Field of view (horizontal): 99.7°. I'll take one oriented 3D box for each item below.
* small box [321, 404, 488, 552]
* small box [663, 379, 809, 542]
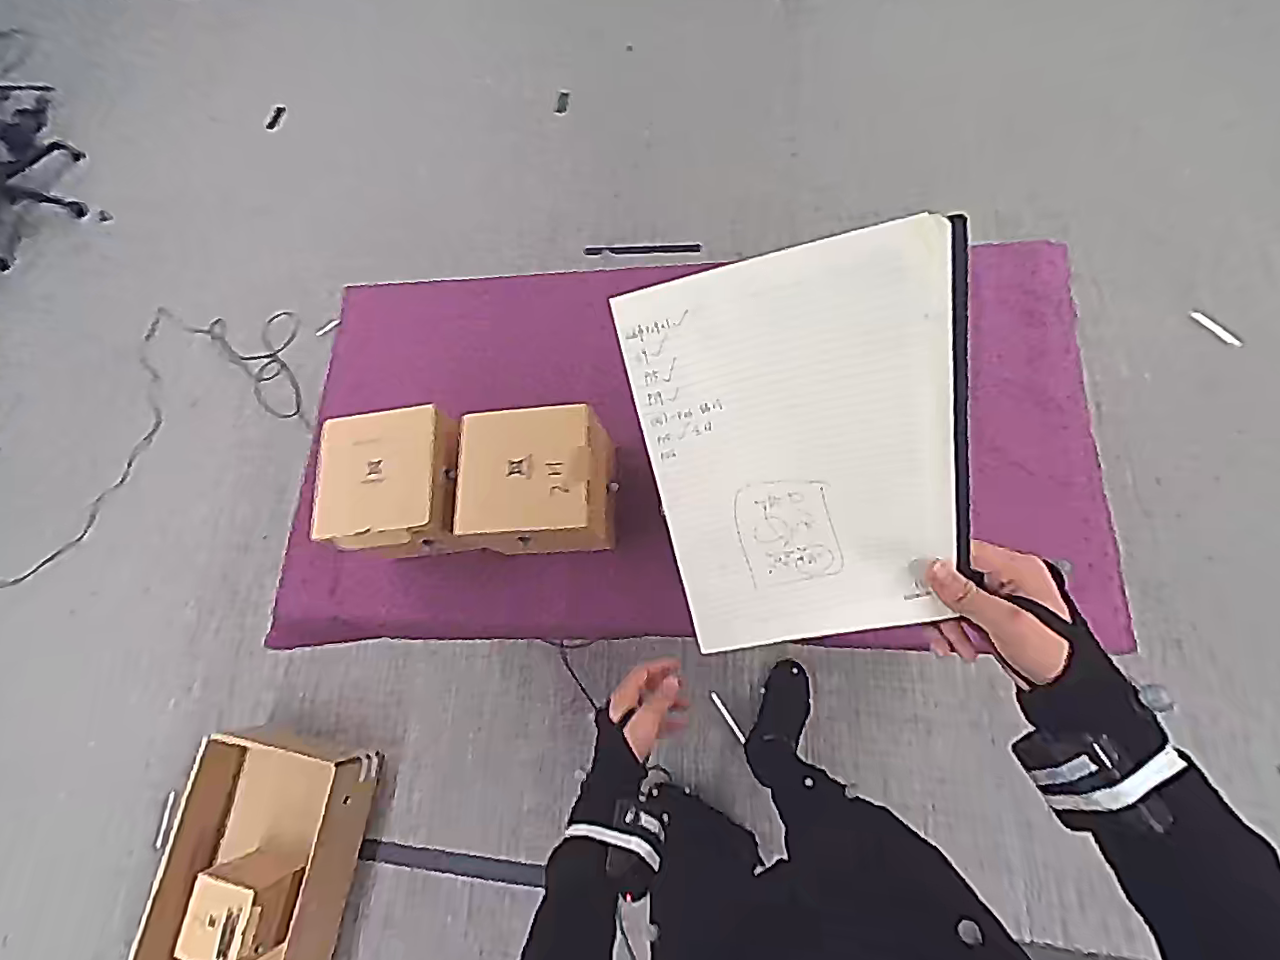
[{"bbox_3d":[-0.336,0.009,0.803,0.168,0.176,0.179,-7,72,7],"label":"small box"},{"bbox_3d":[0.131,-0.018,0.726,0.168,0.176,0.179,3,74,11],"label":"small box"}]
